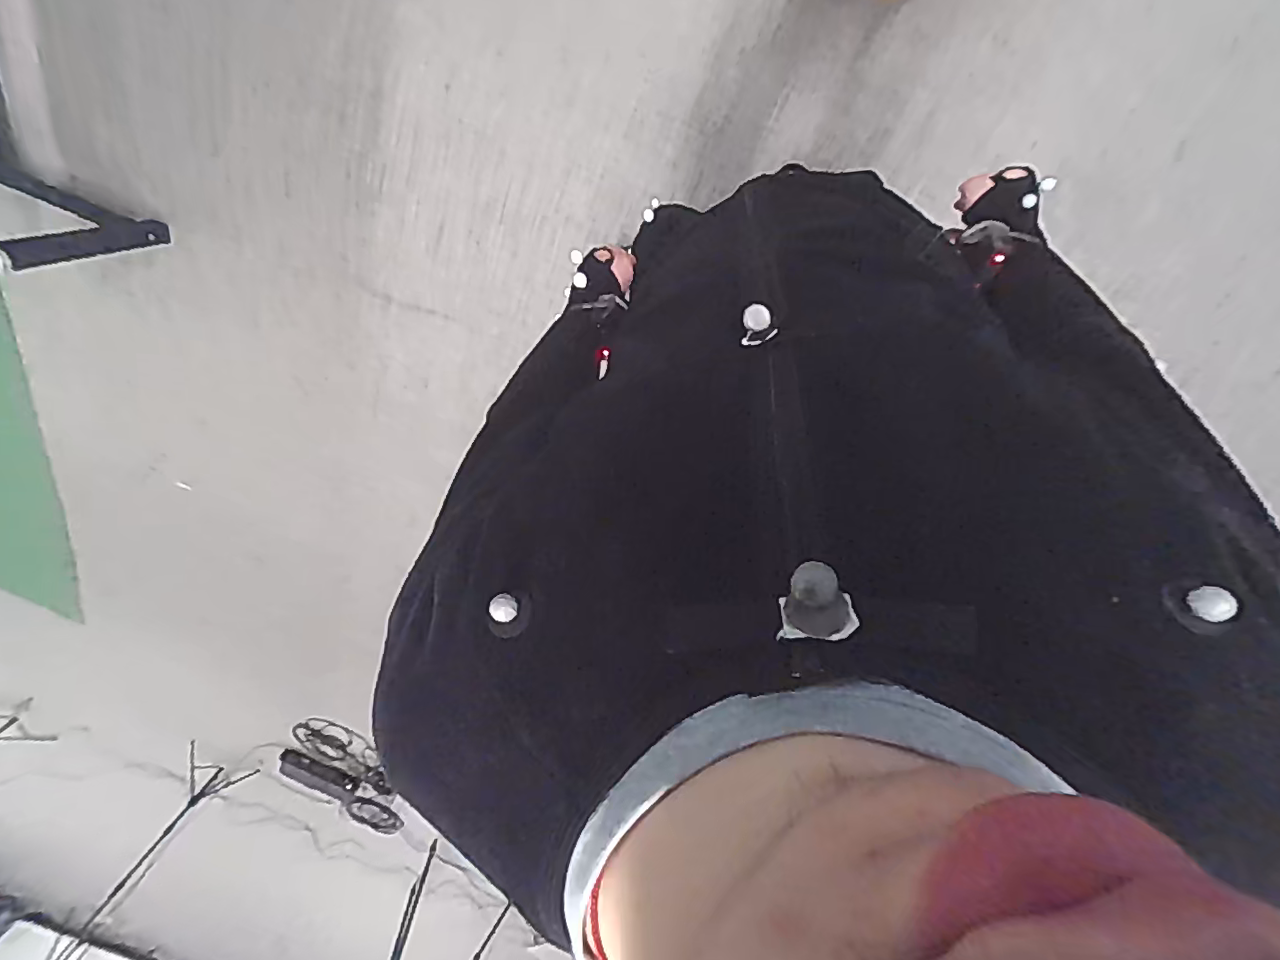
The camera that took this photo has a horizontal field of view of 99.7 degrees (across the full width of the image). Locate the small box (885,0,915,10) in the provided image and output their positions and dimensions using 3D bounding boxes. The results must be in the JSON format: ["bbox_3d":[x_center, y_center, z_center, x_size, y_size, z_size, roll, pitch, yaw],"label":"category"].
[{"bbox_3d":[0.440,-0.900,0.848,0.168,0.176,0.179,36,122,-9],"label":"small box"}]

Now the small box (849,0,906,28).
[{"bbox_3d":[0.469,-0.984,0.987,0.168,0.176,0.179,35,122,-8],"label":"small box"}]
